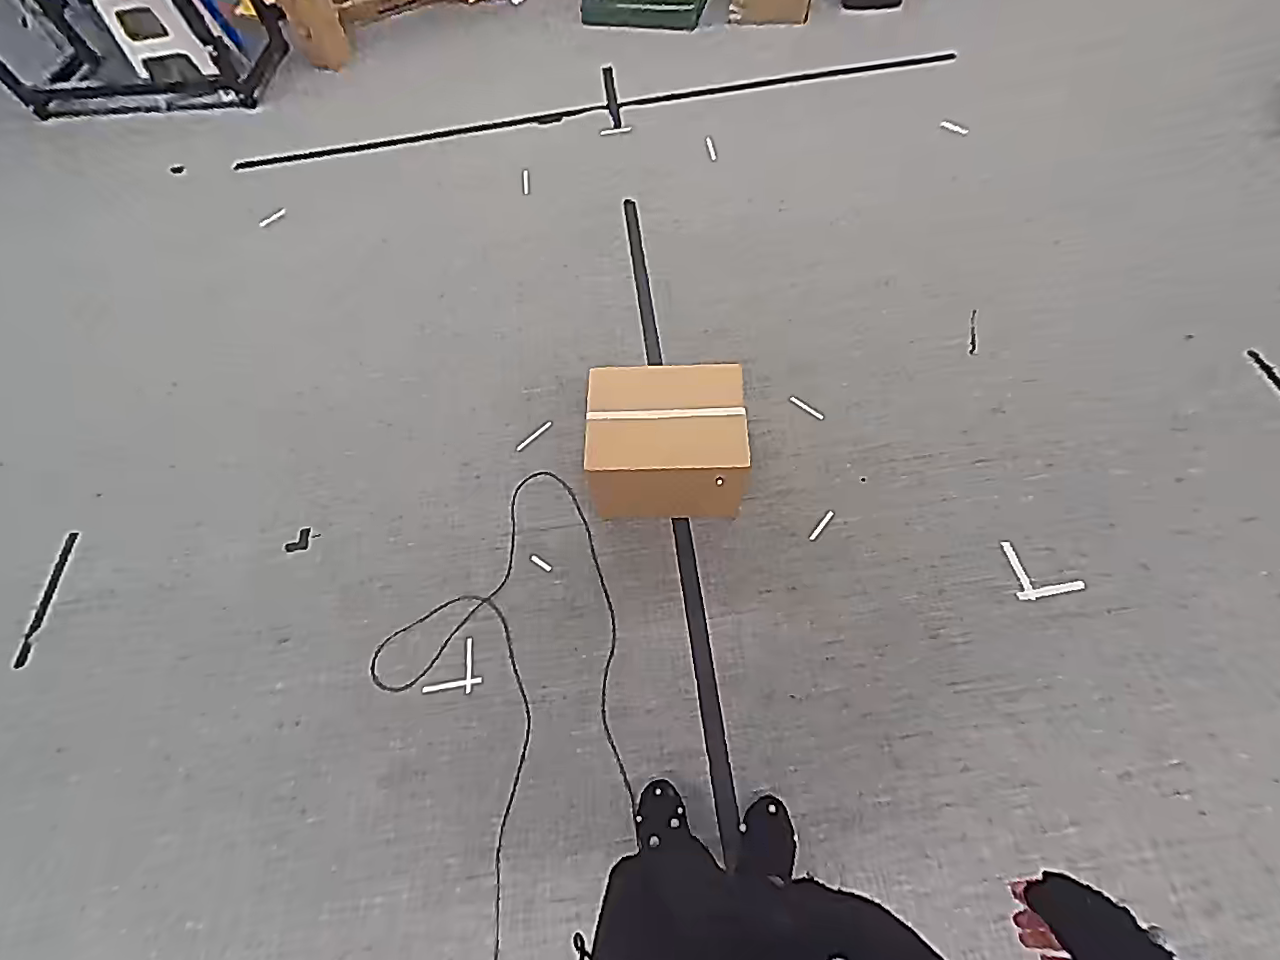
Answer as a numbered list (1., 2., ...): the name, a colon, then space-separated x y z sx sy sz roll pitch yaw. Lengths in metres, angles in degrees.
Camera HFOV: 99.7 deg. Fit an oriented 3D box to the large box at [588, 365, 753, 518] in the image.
1. large box: 0.079 -0.093 1.495 0.408 0.320 0.320 -1 63 3
